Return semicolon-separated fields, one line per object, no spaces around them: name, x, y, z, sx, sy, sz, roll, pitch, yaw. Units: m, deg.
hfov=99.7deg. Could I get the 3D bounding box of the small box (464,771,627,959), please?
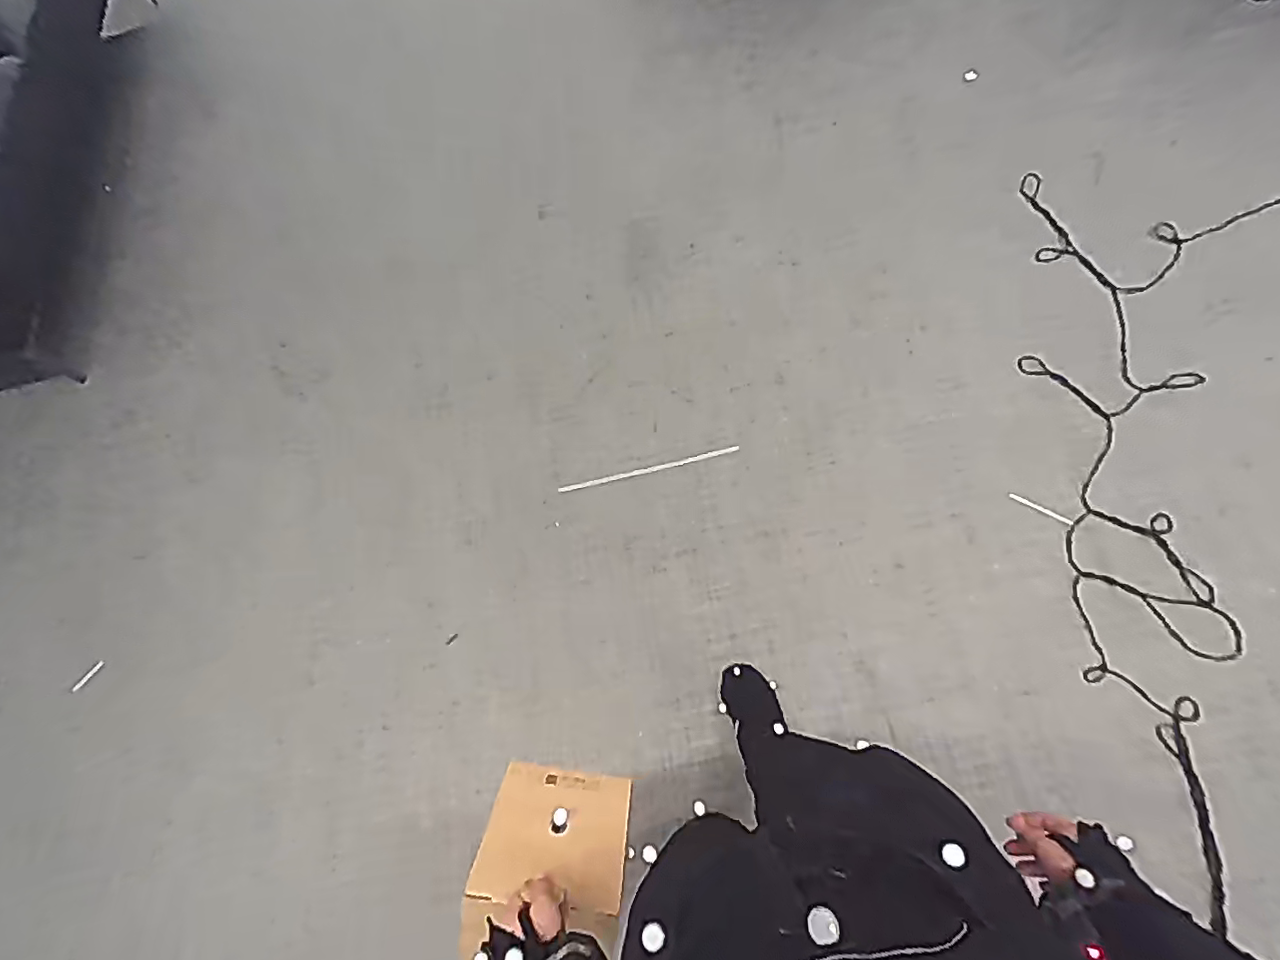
small box;-0.108;0.491;0.661;0.168;0.176;0.179;7;110;-1
